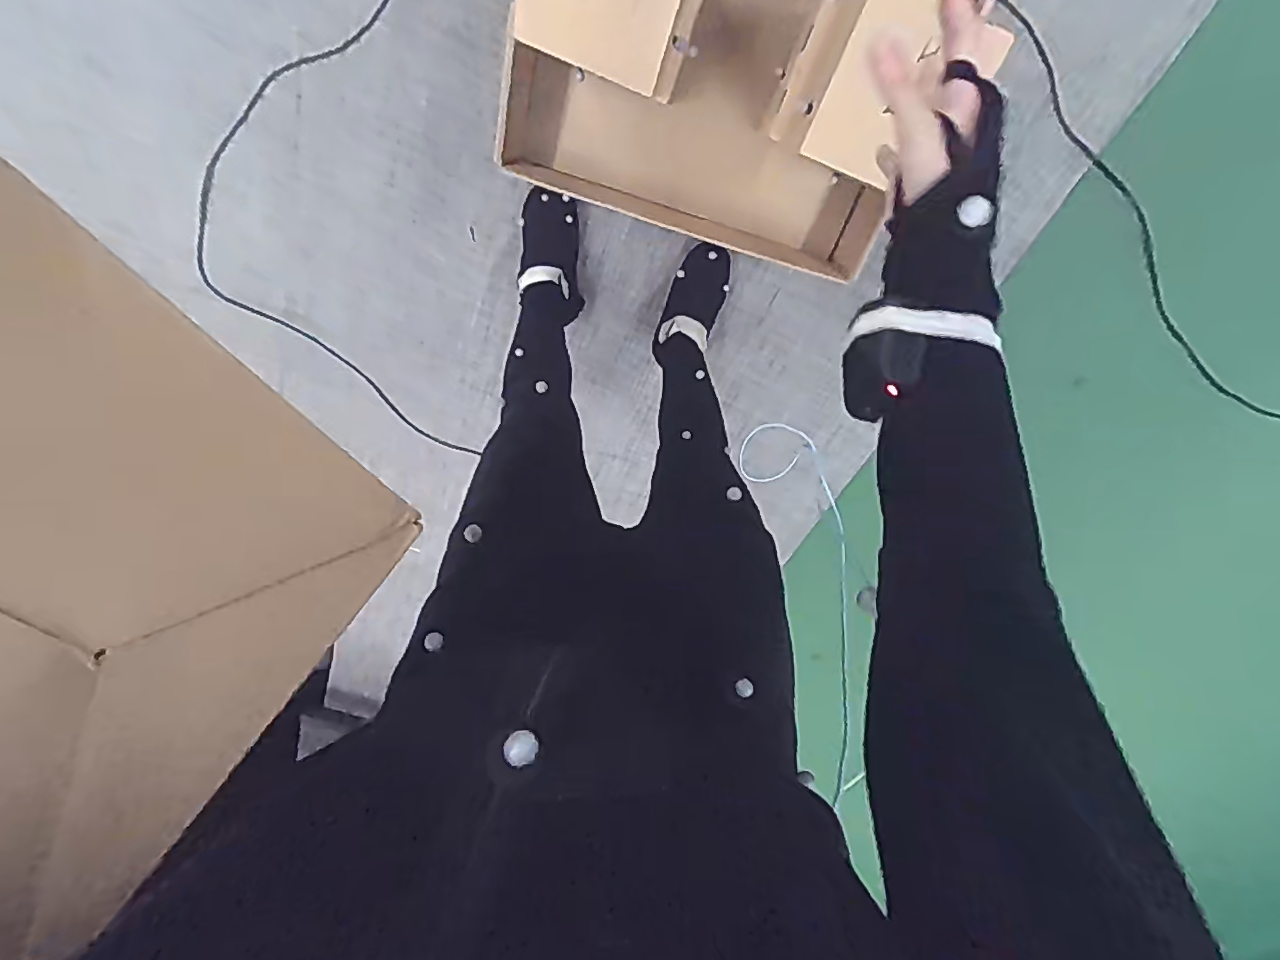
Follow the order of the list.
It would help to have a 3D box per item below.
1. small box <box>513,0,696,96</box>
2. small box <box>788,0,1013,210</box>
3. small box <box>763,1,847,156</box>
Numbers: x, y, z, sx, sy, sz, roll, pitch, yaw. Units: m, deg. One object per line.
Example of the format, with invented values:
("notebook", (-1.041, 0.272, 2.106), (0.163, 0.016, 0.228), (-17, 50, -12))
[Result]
("small box", (-0.027, -0.578, 0.637), (0.179, 0.176, 0.168), (19, 125, -9))
("small box", (0.303, -0.471, 0.680), (0.168, 0.176, 0.179), (19, 122, -9))
("small box", (0.302, -0.568, 0.814), (0.179, 0.176, 0.168), (20, 123, -8))
